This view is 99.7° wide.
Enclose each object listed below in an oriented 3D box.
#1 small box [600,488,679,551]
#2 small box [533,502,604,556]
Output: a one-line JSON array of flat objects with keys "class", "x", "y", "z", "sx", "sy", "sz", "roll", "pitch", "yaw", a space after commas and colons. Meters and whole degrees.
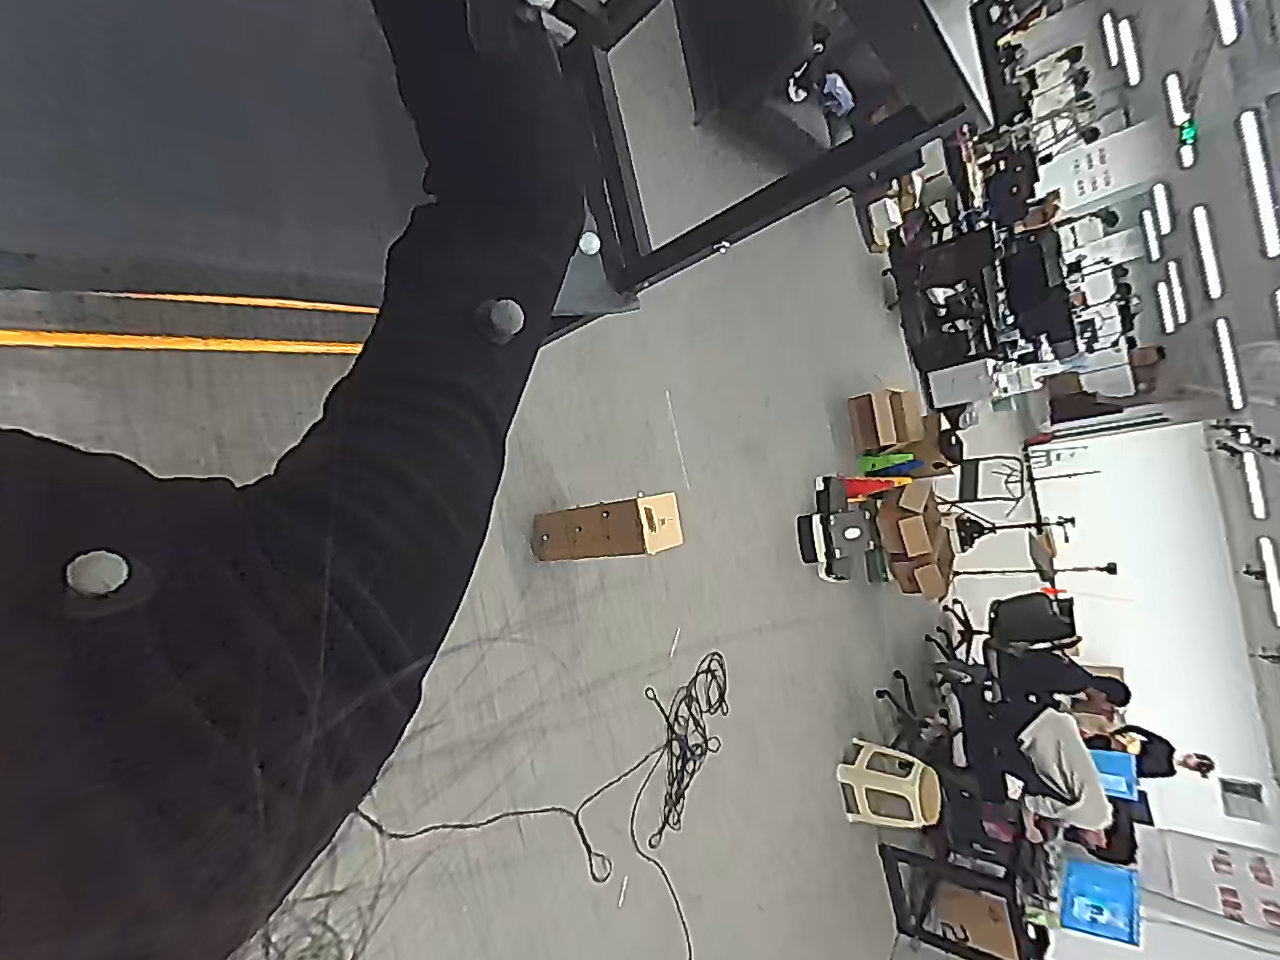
[{"class": "small box", "x": -0.009, "y": 0.123, "z": 1.666, "sx": 0.179, "sy": 0.176, "sz": 0.168, "roll": -8, "pitch": 88, "yaw": -48}, {"class": "small box", "x": -0.248, "y": 0.170, "z": 1.883, "sx": 0.179, "sy": 0.176, "sz": 0.168, "roll": -5, "pitch": 85, "yaw": -48}]
